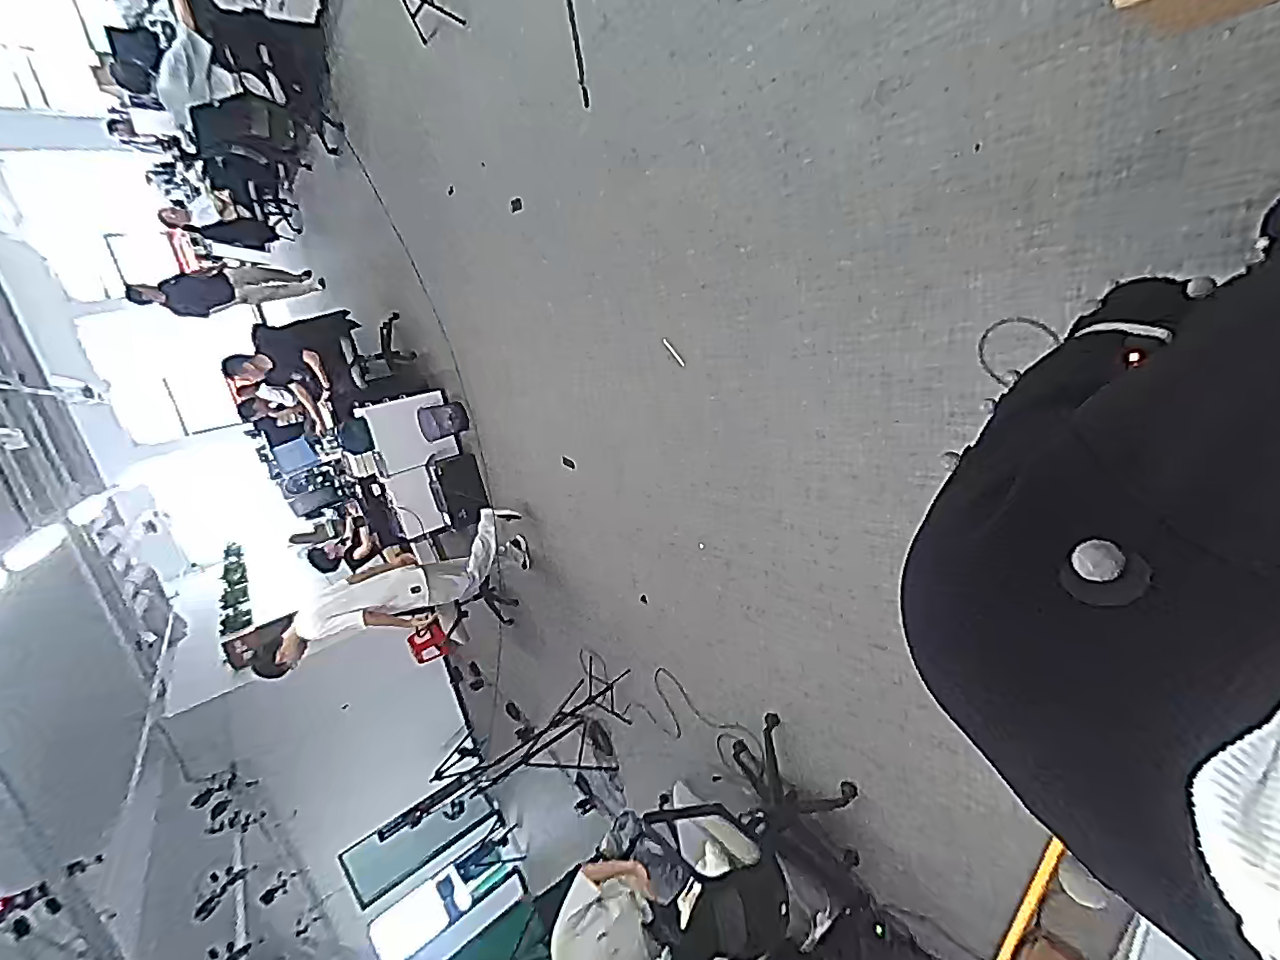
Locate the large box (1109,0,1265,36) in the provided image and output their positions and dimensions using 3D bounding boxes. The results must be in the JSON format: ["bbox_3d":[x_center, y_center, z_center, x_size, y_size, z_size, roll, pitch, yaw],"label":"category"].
[{"bbox_3d":[0.854,-0.803,0.625,0.408,0.320,0.320,13,119,50],"label":"large box"}]
